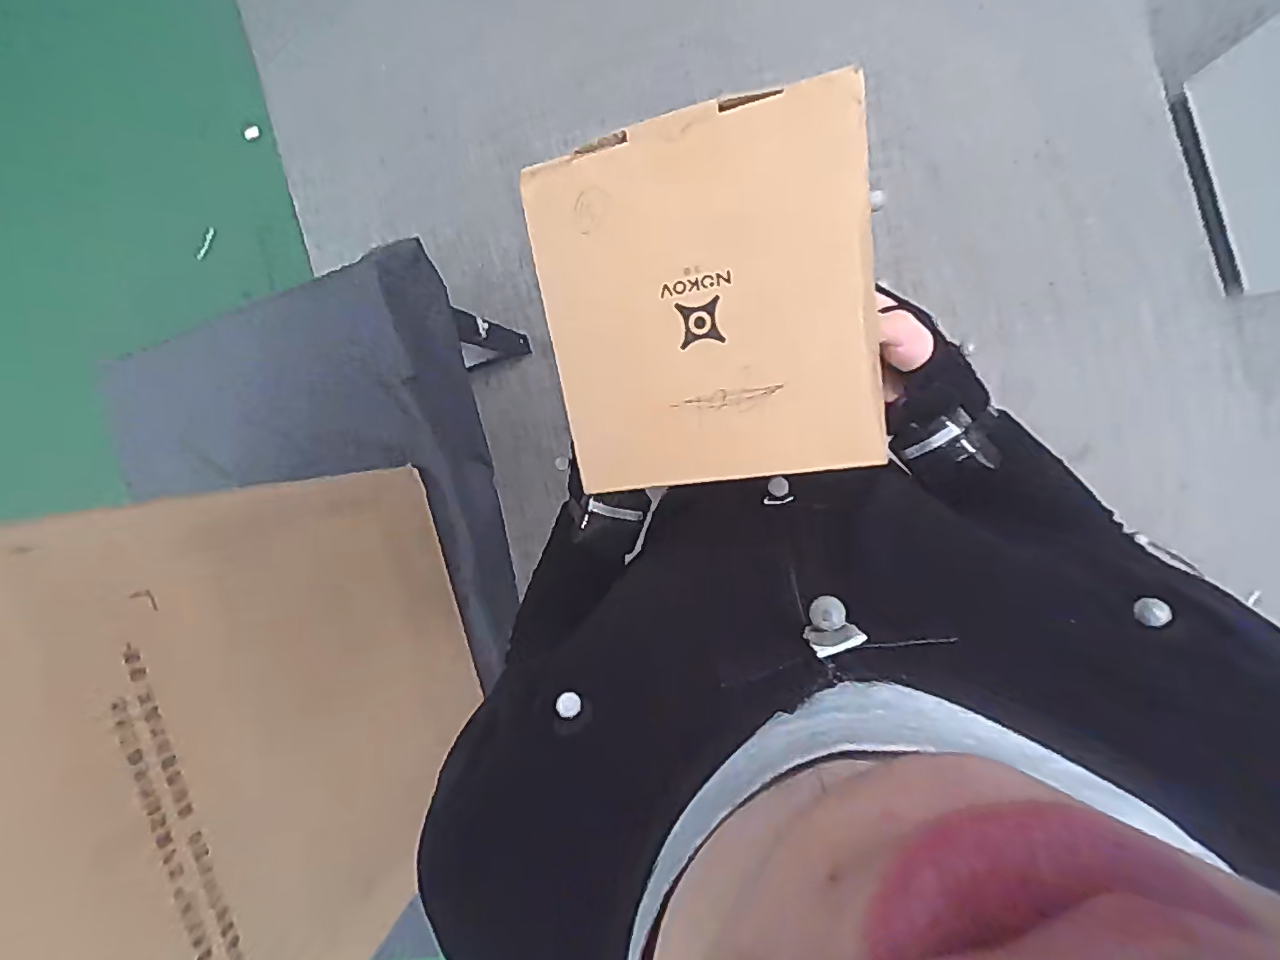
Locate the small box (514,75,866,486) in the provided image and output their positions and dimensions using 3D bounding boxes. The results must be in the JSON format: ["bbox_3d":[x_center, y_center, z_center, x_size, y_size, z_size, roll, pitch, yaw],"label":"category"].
[{"bbox_3d":[0.047,-0.106,0.346,0.168,0.176,0.179,-4,106,19],"label":"small box"}]
